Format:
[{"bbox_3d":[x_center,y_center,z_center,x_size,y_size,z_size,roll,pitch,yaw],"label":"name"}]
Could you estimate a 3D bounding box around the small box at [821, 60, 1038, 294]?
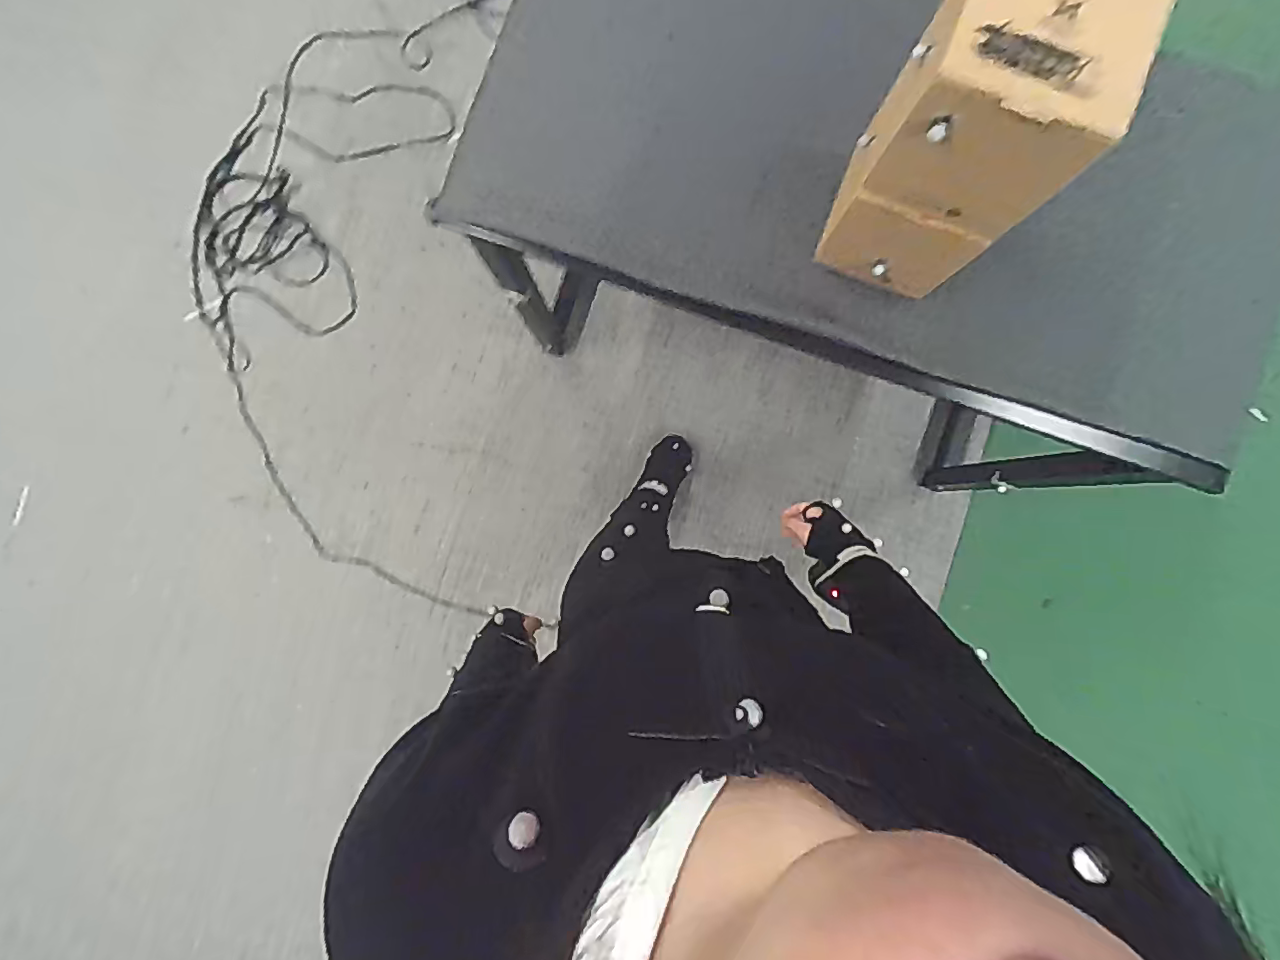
[{"bbox_3d":[0.357,-0.376,0.702,0.168,0.176,0.179,20,87,2],"label":"small box"}]
